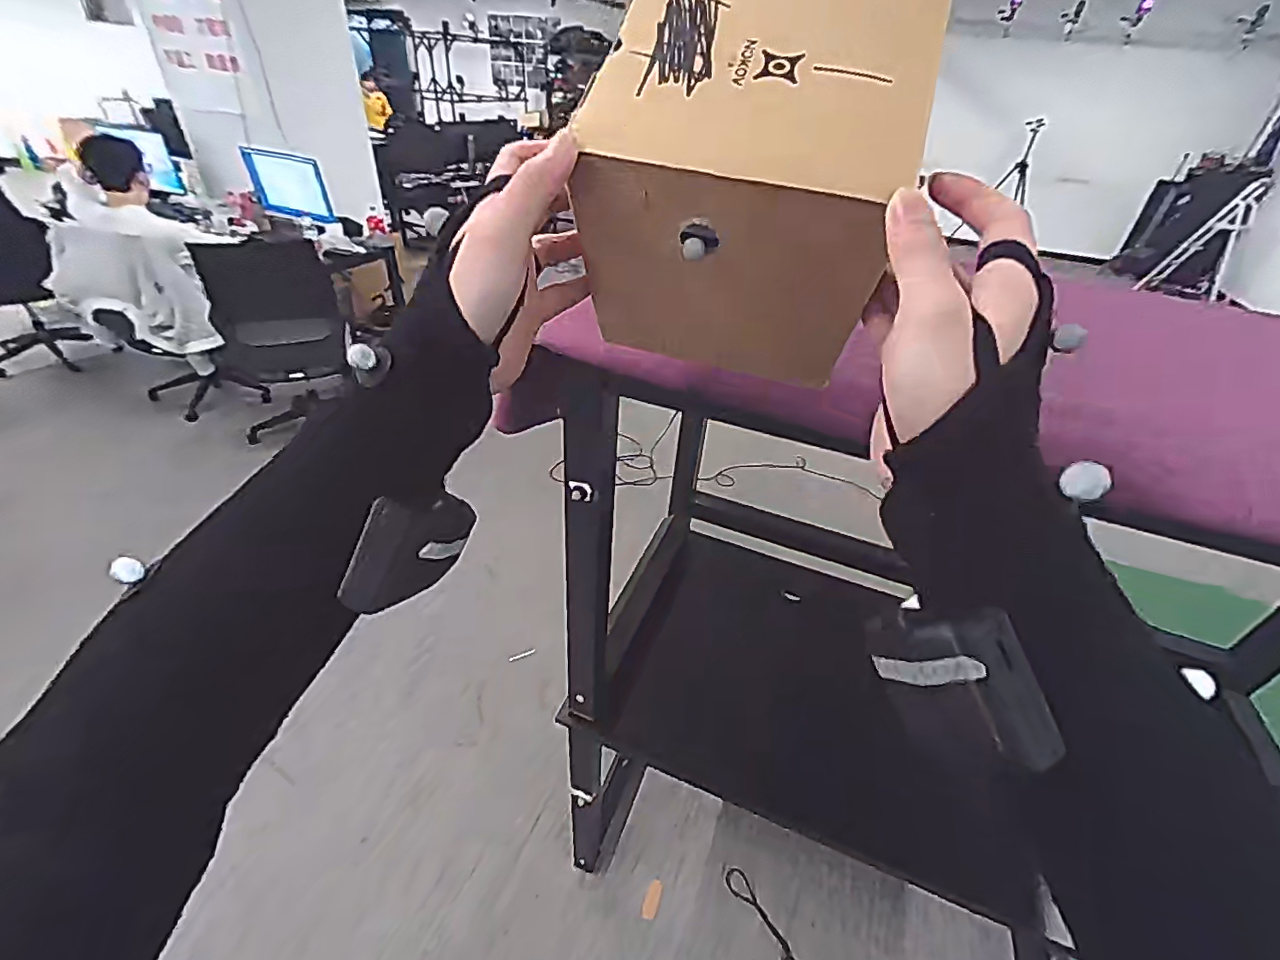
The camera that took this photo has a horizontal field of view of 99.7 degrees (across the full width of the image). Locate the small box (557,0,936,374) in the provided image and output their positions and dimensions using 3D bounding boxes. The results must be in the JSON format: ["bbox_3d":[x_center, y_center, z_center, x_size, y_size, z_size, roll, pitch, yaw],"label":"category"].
[{"bbox_3d":[0.067,-0.194,0.369,0.179,0.176,0.168,15,71,10],"label":"small box"}]
